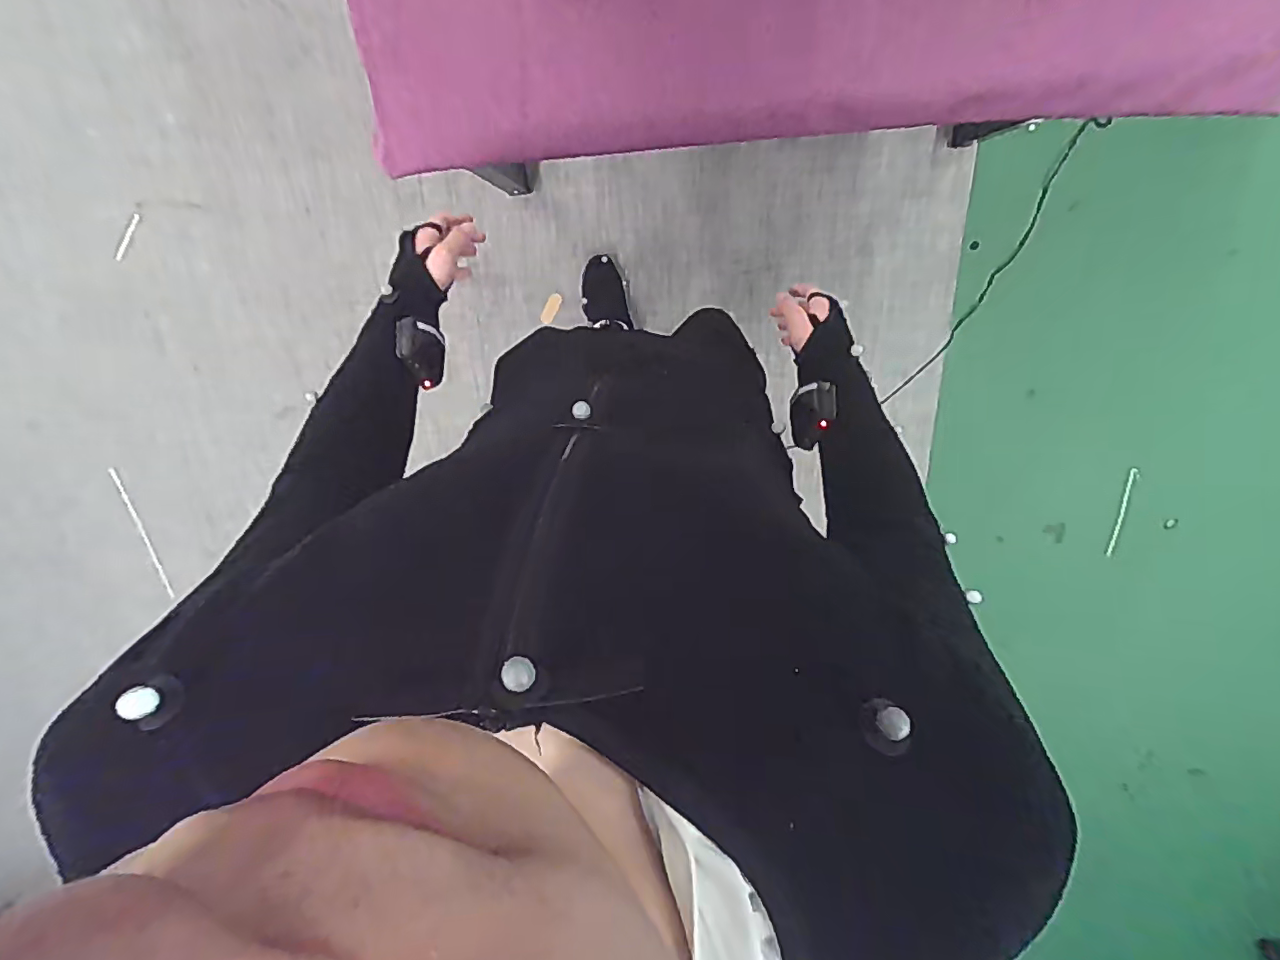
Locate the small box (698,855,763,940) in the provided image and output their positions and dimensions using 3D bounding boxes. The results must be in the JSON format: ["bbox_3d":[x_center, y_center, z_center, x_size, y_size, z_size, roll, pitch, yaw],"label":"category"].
[{"bbox_3d":[0.298,1.391,1.809,0.179,0.176,0.168,3,111,-1],"label":"small box"}]
